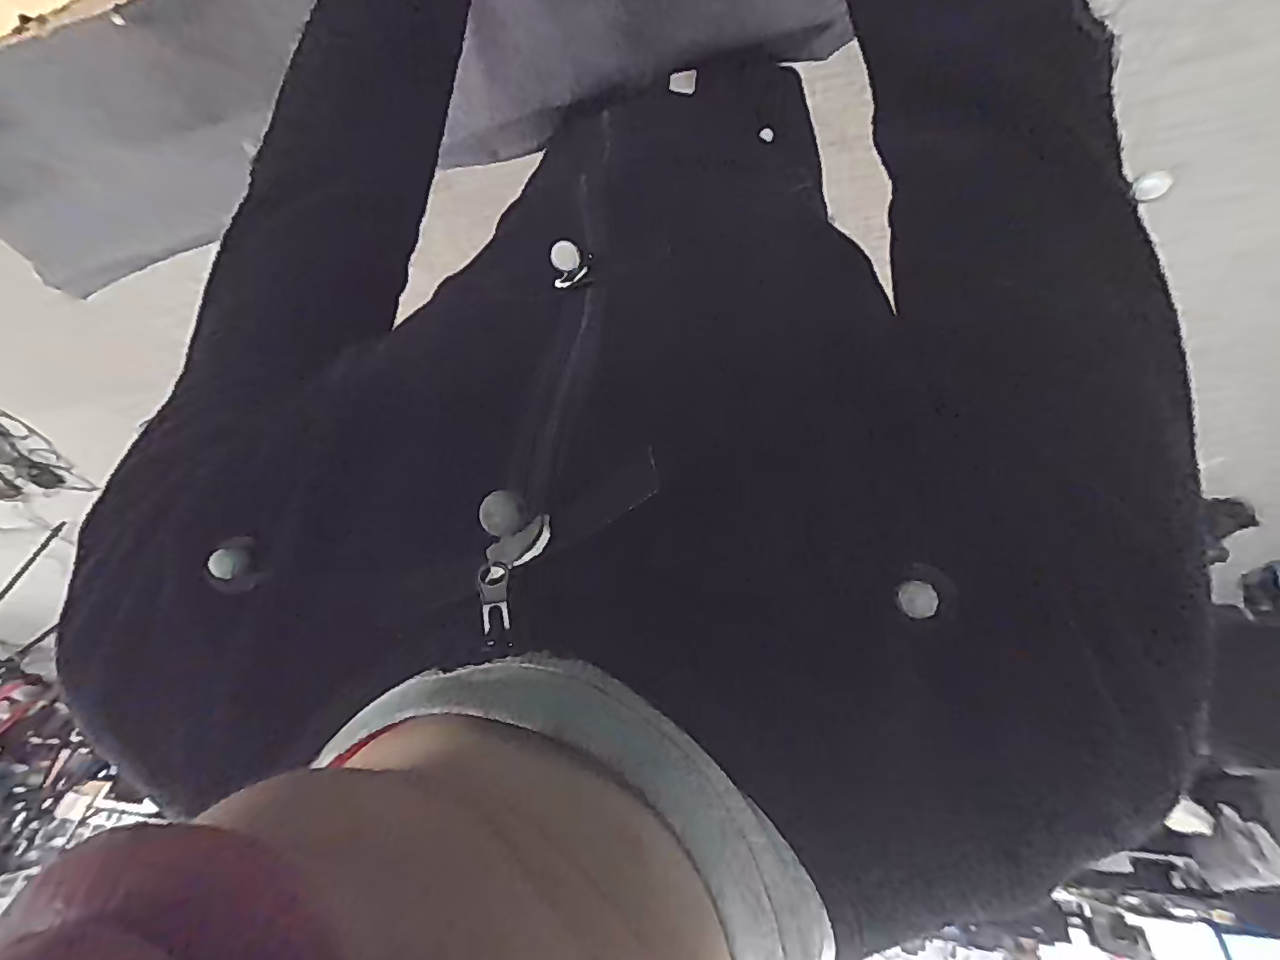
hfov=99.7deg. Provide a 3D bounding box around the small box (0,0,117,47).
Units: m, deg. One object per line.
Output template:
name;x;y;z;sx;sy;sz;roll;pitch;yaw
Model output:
small box;-0.515;-0.492;0.432;0.168;0.176;0.179;-4;140;17
